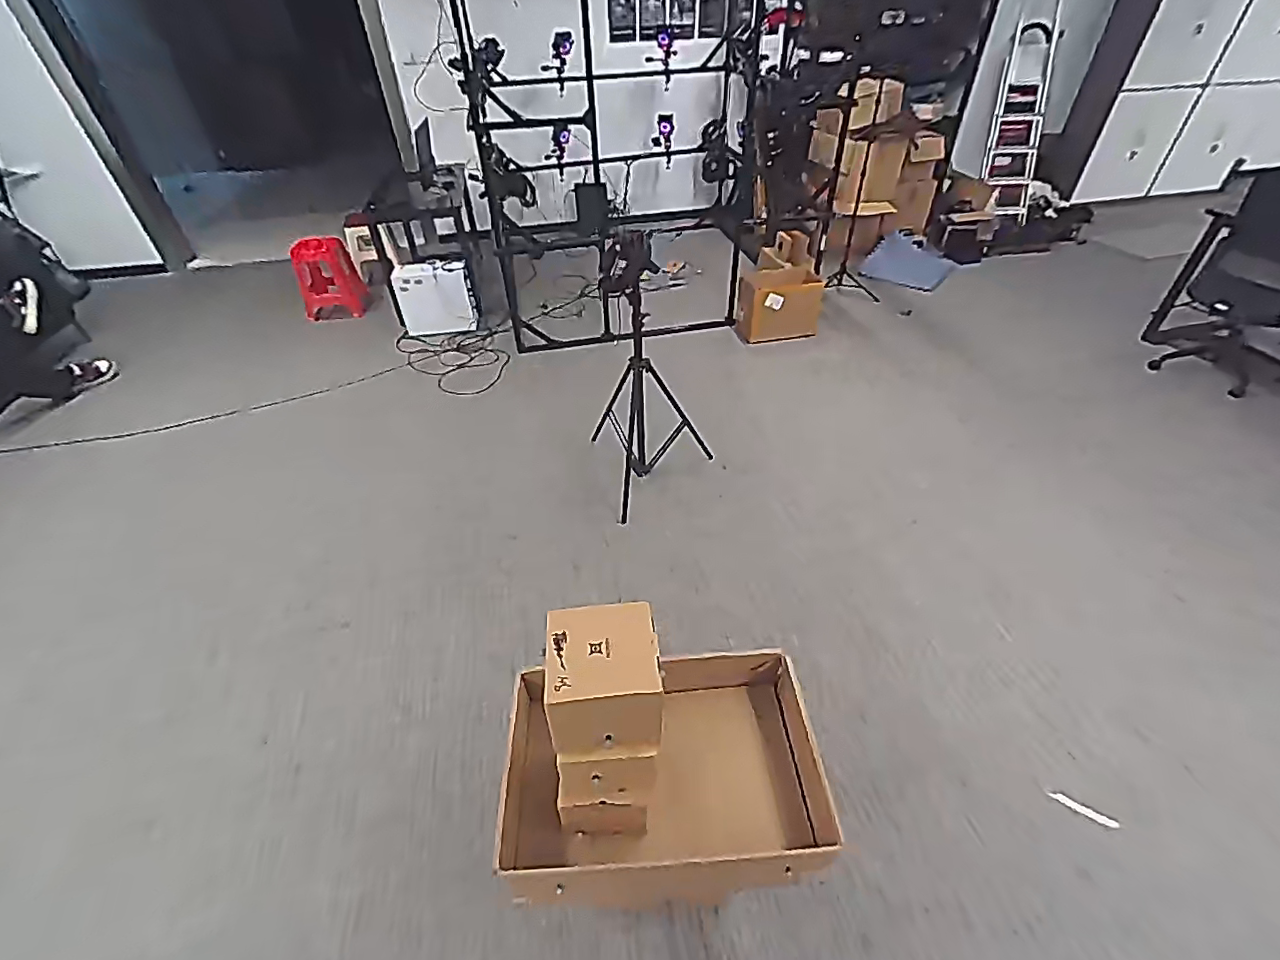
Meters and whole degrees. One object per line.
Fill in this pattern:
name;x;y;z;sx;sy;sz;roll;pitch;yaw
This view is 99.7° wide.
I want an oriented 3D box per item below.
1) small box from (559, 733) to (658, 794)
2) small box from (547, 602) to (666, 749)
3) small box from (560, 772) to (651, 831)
small box;-0.054;0.455;0.993;0.168;0.176;0.179;-3;40;-3
small box;-0.056;0.324;0.895;0.179;0.176;0.168;-3;39;-4
small box;-0.062;0.586;1.089;0.168;0.176;0.179;0;40;0
